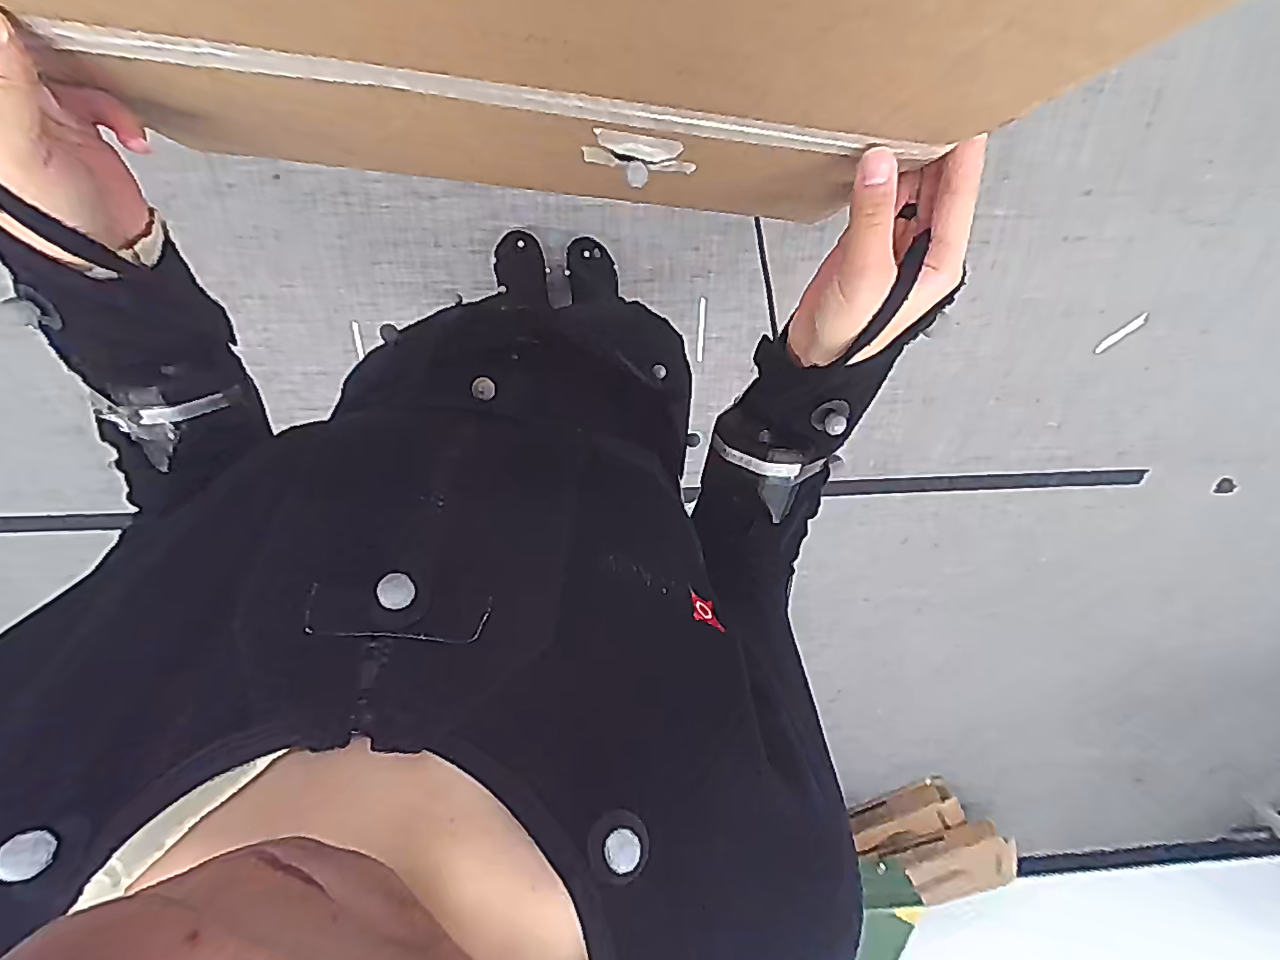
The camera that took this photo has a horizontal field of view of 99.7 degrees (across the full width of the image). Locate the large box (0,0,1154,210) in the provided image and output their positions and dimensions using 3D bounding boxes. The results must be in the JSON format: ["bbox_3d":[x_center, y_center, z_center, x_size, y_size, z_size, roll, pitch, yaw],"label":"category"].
[{"bbox_3d":[-0.056,-0.311,0.184,0.408,0.320,0.320,2,105,-7],"label":"large box"}]
